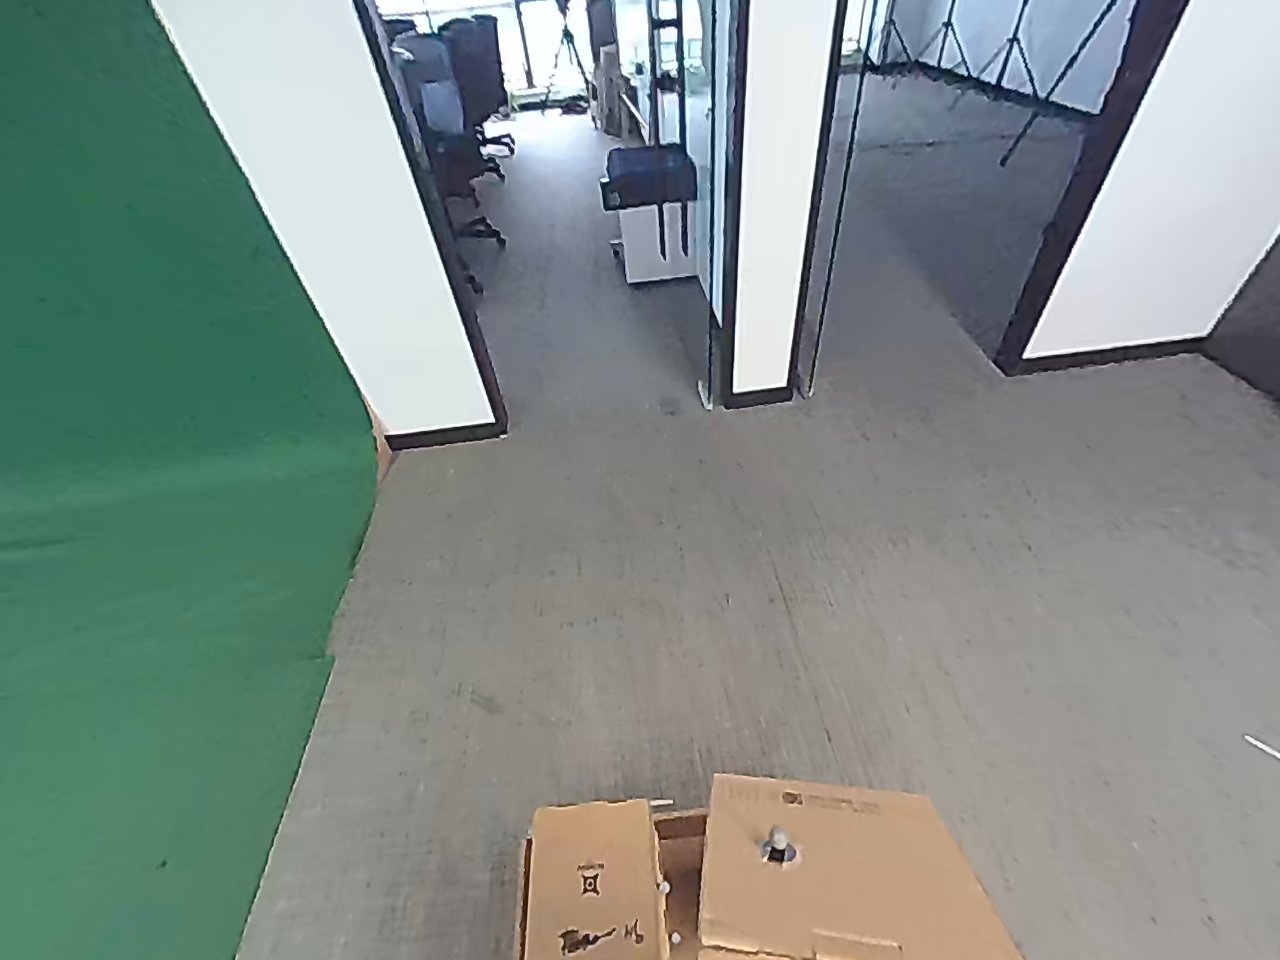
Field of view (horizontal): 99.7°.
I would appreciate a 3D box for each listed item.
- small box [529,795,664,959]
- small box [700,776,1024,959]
[{"bbox_3d":[-0.054,0.578,0.776,0.168,0.176,0.179,-5,45,1],"label":"small box"},{"bbox_3d":[0.121,0.322,0.345,0.168,0.179,0.176,1,2,11],"label":"small box"}]
